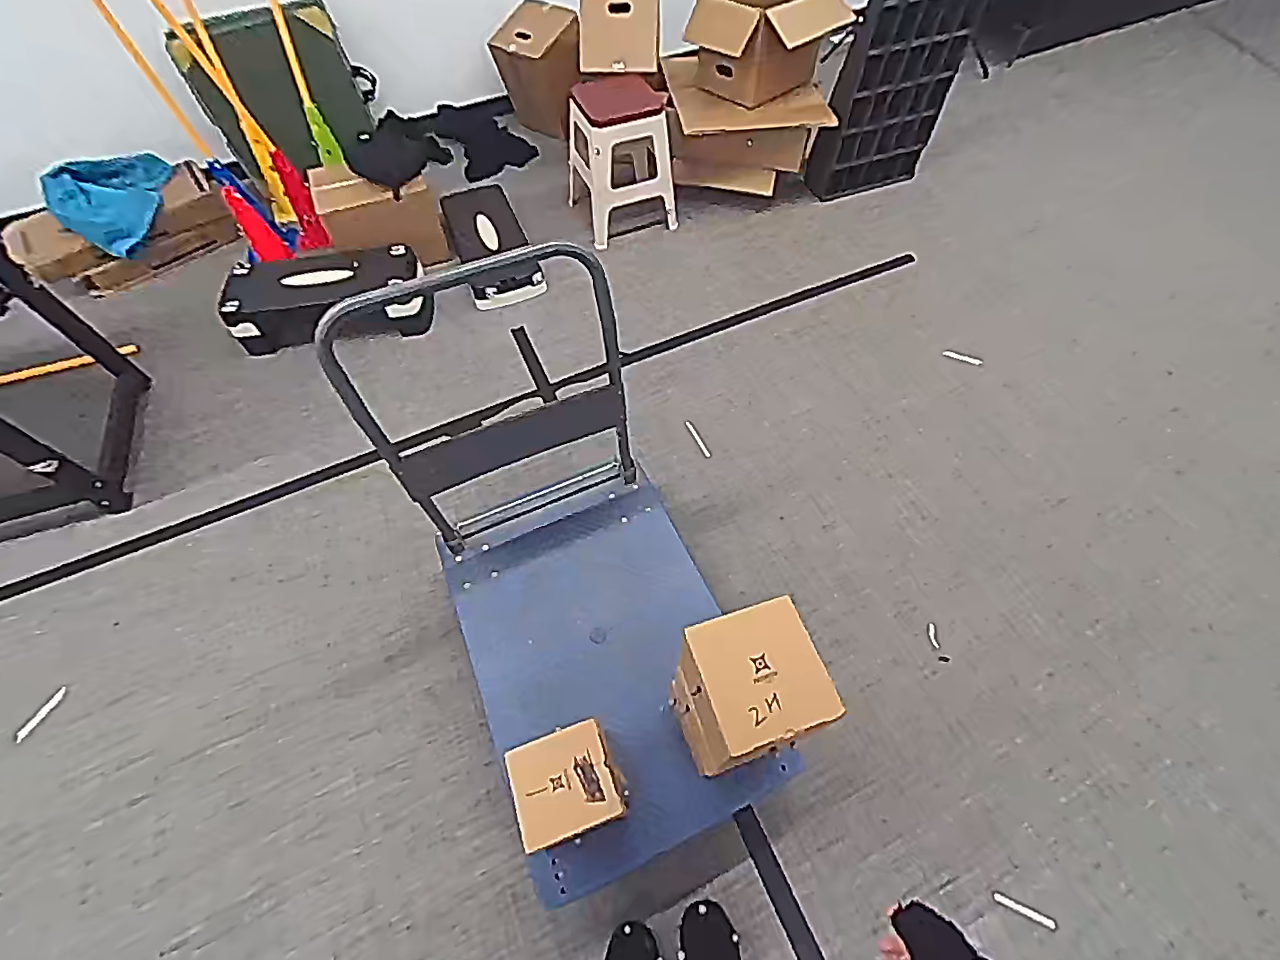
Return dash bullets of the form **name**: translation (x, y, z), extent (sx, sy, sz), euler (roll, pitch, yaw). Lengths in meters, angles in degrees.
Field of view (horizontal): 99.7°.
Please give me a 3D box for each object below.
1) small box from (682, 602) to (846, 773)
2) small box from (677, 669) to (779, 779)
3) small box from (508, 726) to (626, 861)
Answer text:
- **small box**: translation (0.167, 0.309, 0.798), extent (0.168, 0.176, 0.179), euler (-16, 59, -8)
- **small box**: translation (0.171, 0.400, 0.936), extent (0.179, 0.176, 0.168), euler (-17, 59, -10)
- **small box**: translation (-0.131, 0.586, 1.021), extent (0.179, 0.176, 0.168), euler (-19, 59, -9)
